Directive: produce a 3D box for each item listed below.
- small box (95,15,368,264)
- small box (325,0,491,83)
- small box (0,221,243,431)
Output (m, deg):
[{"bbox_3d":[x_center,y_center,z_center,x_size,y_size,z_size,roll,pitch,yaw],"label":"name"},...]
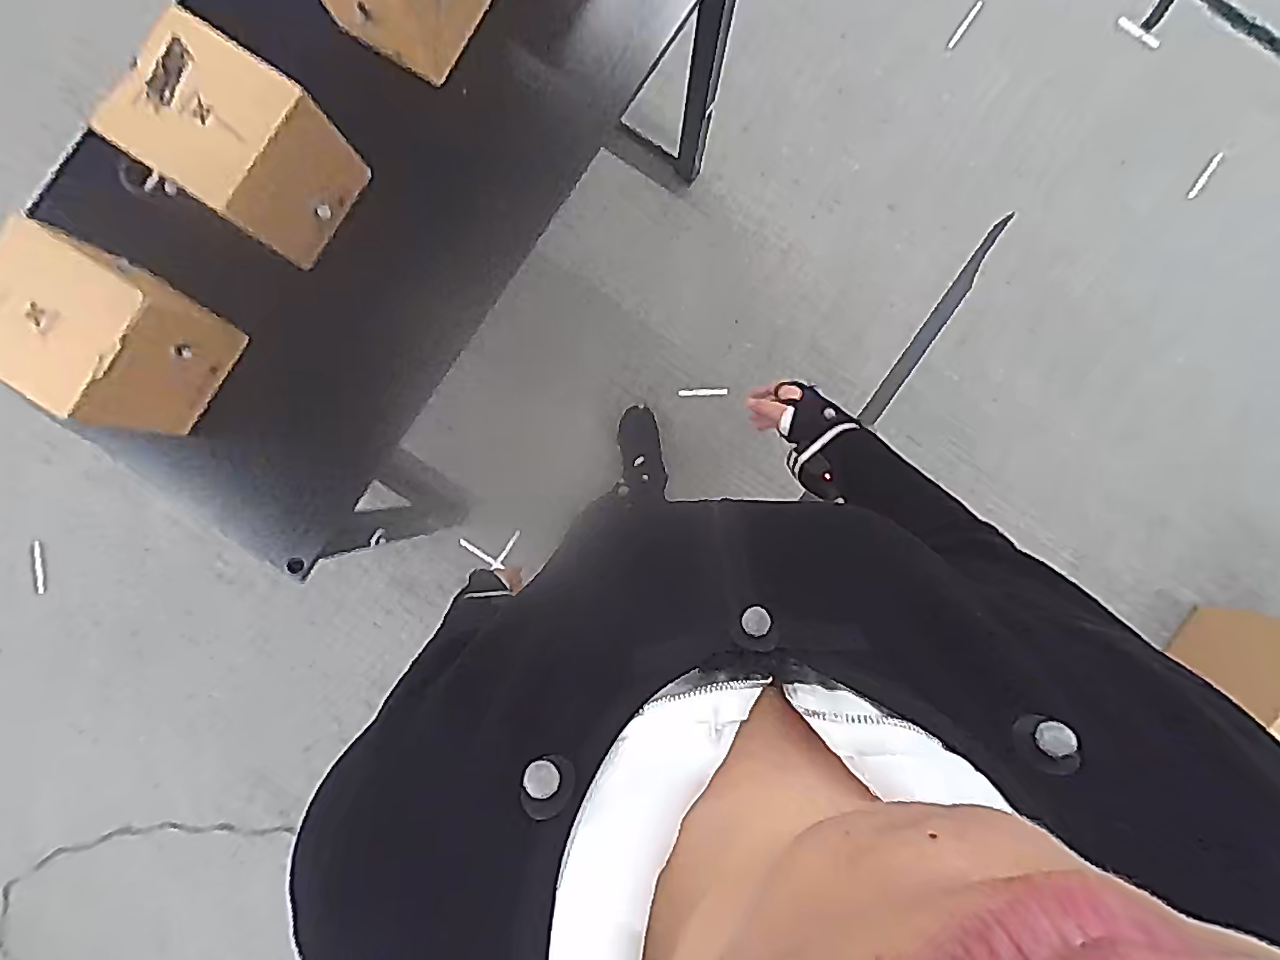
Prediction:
[{"bbox_3d":[-0.493,-0.408,0.683,0.179,0.176,0.168,33,89,-1],"label":"small box"},{"bbox_3d":[-0.311,-0.668,0.691,0.168,0.176,0.179,30,89,-1],"label":"small box"},{"bbox_3d":[-0.660,-0.174,0.677,0.179,0.176,0.168,32,87,0],"label":"small box"}]
